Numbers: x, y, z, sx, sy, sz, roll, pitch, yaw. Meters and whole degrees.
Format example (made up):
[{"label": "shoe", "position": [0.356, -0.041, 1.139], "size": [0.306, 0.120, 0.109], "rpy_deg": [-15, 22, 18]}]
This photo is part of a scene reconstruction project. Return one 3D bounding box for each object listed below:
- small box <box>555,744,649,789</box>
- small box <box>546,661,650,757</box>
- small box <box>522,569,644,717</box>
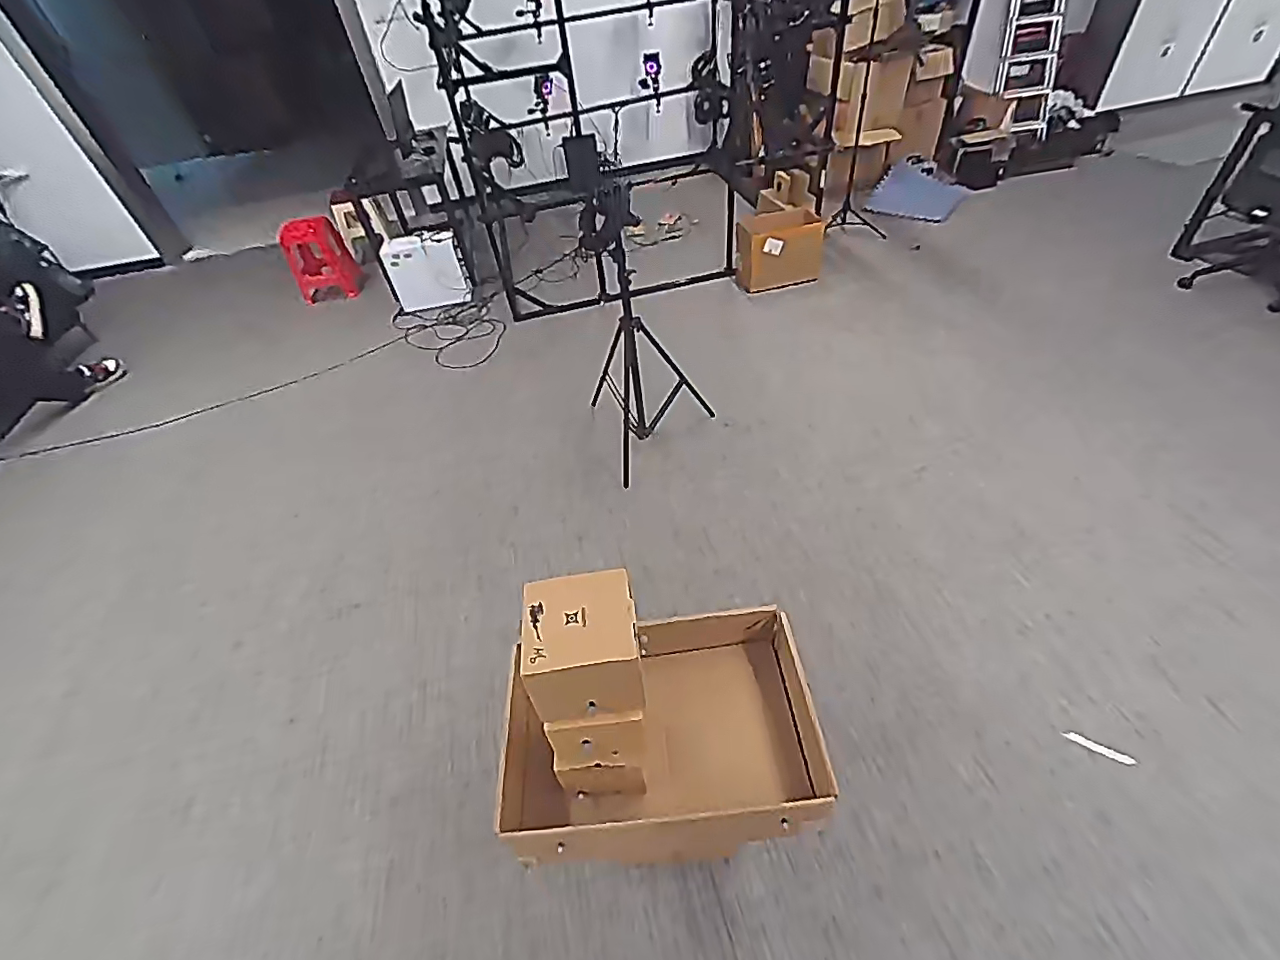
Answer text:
[{"label": "small box", "position": [-0.070, 0.518, 1.106], "size": [0.168, 0.176, 0.179], "rpy_deg": [-4, 44, 2]}, {"label": "small box", "position": [-0.074, 0.394, 1.000], "size": [0.168, 0.176, 0.179], "rpy_deg": [-6, 44, -1]}, {"label": "small box", "position": [-0.087, 0.270, 0.893], "size": [0.179, 0.176, 0.168], "rpy_deg": [-7, 43, -2]}]
